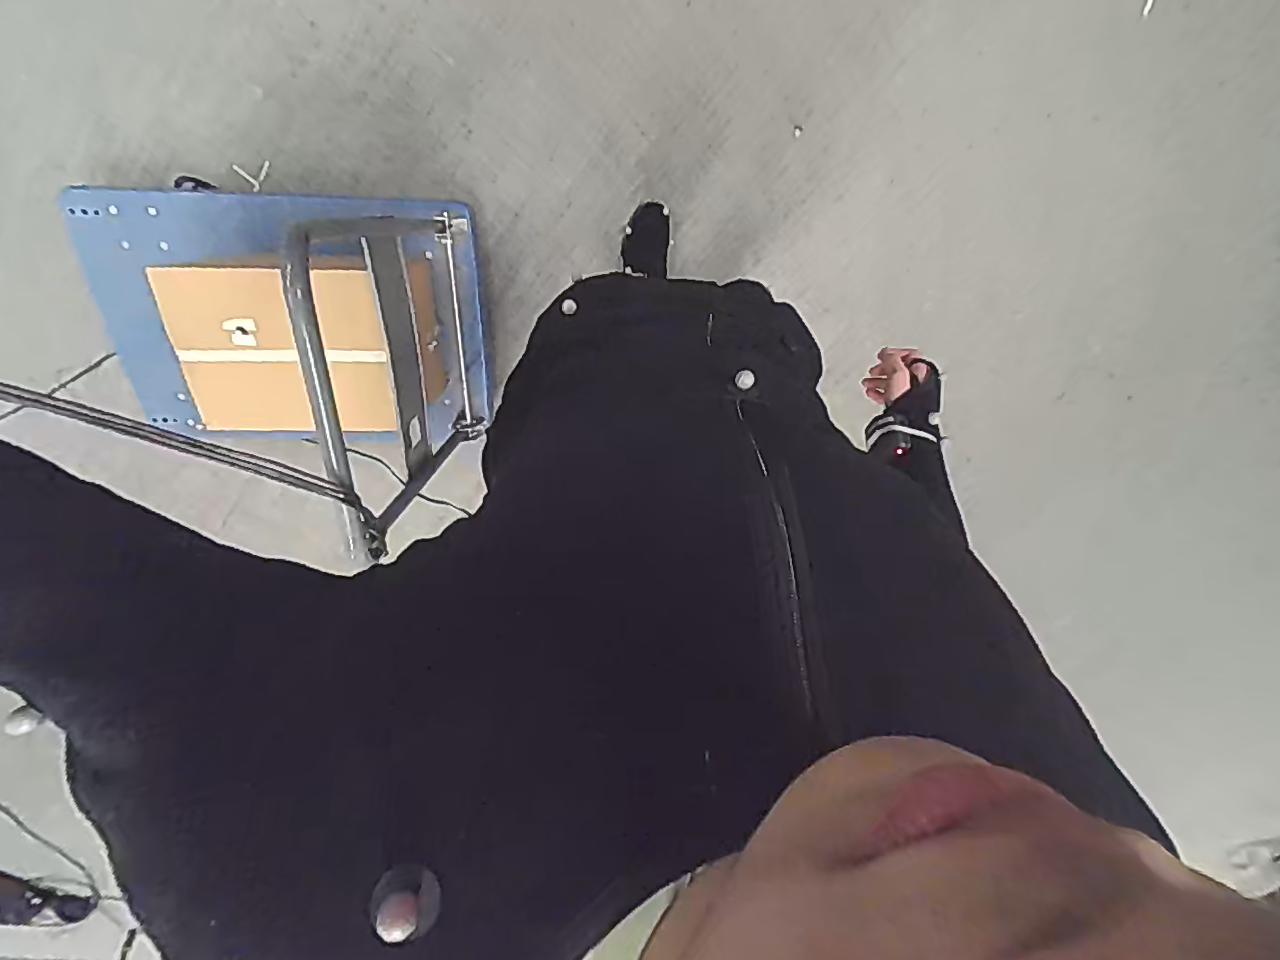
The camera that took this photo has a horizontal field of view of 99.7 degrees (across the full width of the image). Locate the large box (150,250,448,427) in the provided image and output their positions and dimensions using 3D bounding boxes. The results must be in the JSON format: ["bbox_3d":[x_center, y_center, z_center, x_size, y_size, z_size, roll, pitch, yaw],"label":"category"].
[{"bbox_3d":[-0.675,-0.313,1.160,0.408,0.320,0.320,0,117,-2],"label":"large box"}]
